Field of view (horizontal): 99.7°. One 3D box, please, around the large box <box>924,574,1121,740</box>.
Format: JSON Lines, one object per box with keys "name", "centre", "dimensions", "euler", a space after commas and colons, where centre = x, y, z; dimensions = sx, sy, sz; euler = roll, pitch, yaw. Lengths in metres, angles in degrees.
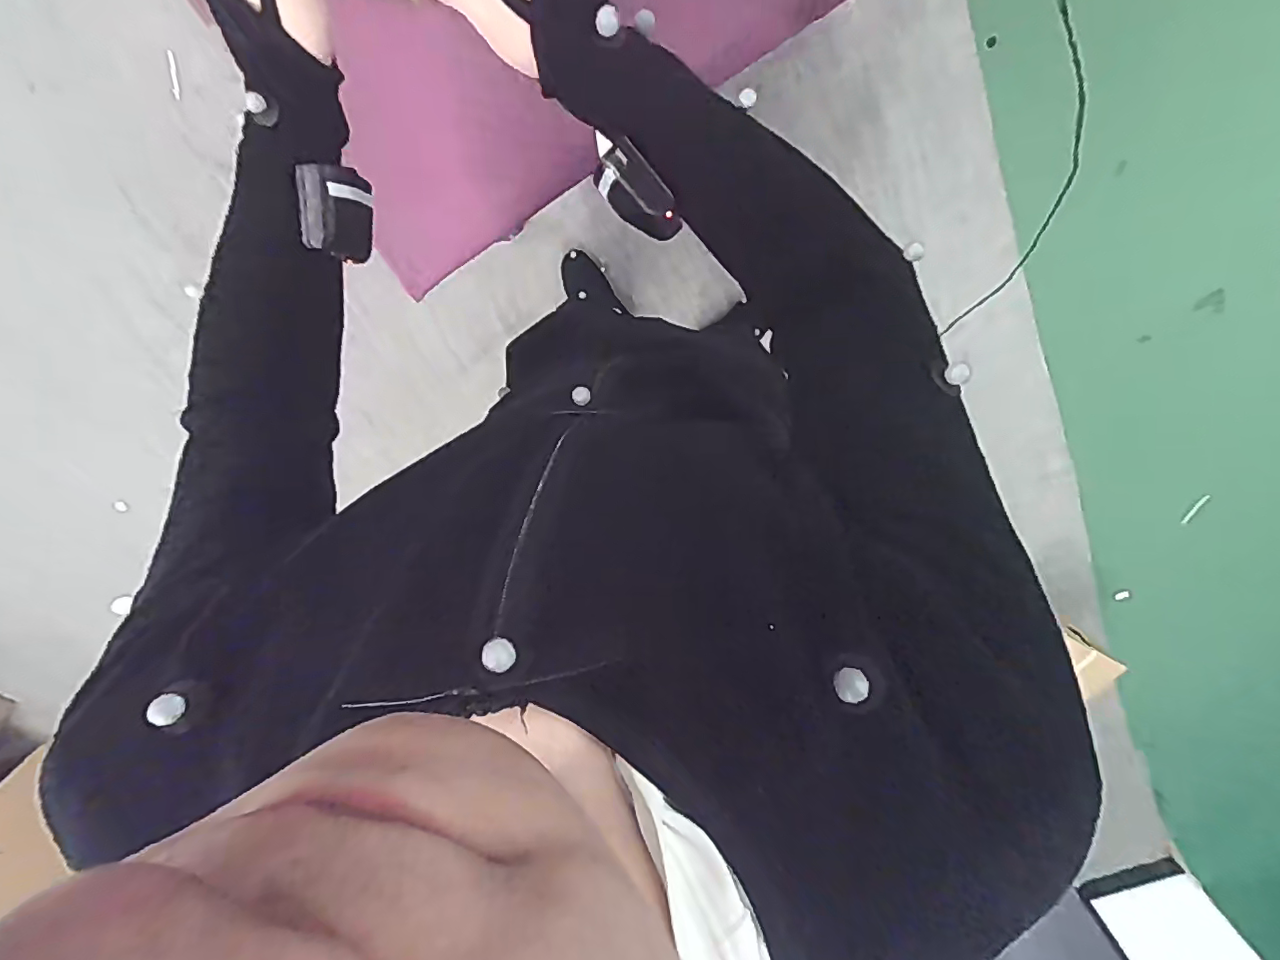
{"name": "large box", "centre": [1.305, 0.613, 1.895], "dimensions": [0.320, 0.320, 0.408], "euler": [26, 111, -13]}
